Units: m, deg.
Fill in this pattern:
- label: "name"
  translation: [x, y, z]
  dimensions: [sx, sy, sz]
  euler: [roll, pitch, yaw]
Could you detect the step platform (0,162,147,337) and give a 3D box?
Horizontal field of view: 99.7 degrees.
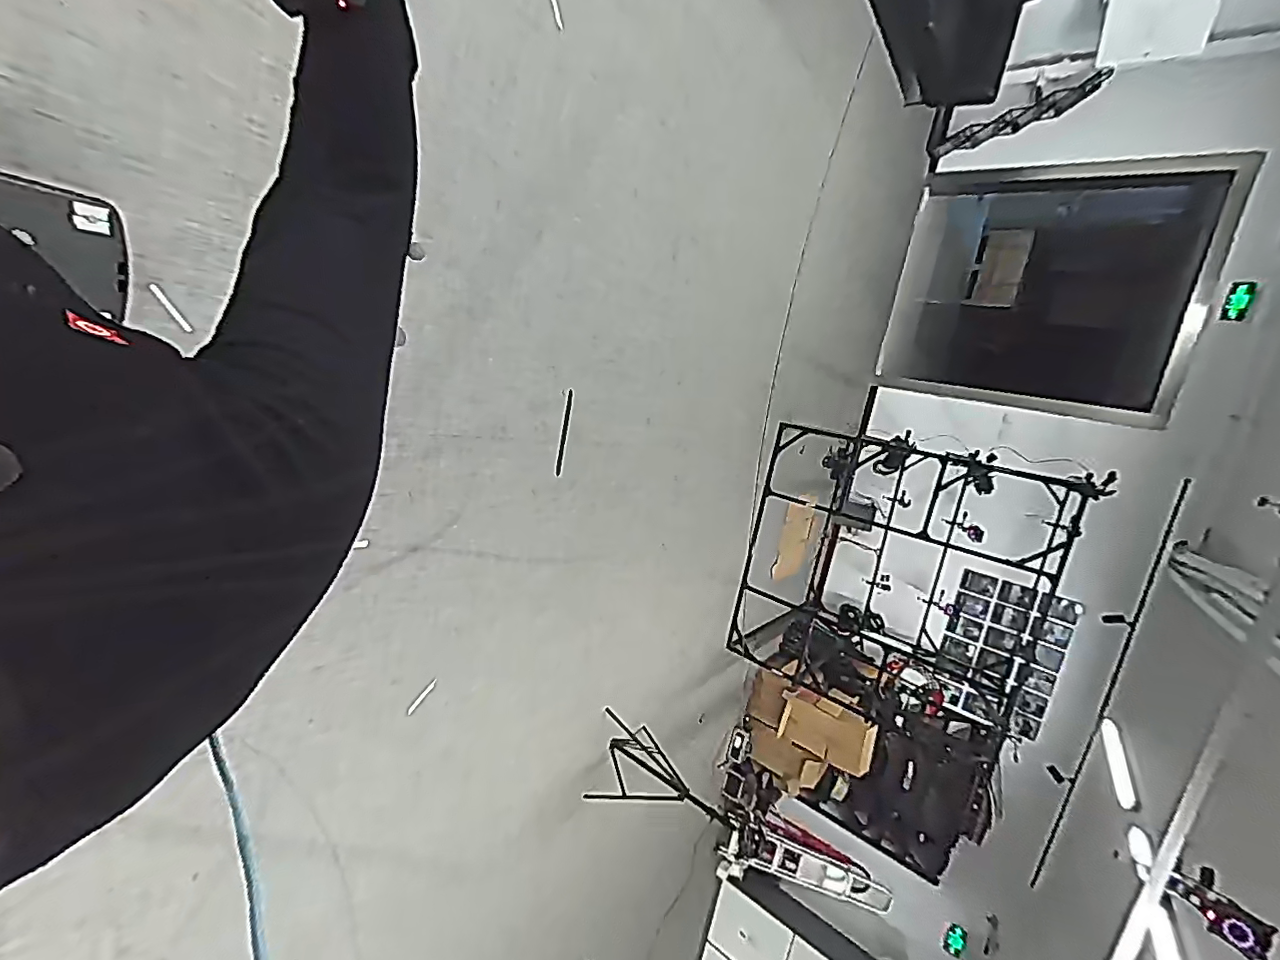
- label: "step platform"
  translation: [-1.271, -0.428, 0.886]
  dimensions: [0.684, 0.204, 0.286]
  euler: [-6, 110, -54]
